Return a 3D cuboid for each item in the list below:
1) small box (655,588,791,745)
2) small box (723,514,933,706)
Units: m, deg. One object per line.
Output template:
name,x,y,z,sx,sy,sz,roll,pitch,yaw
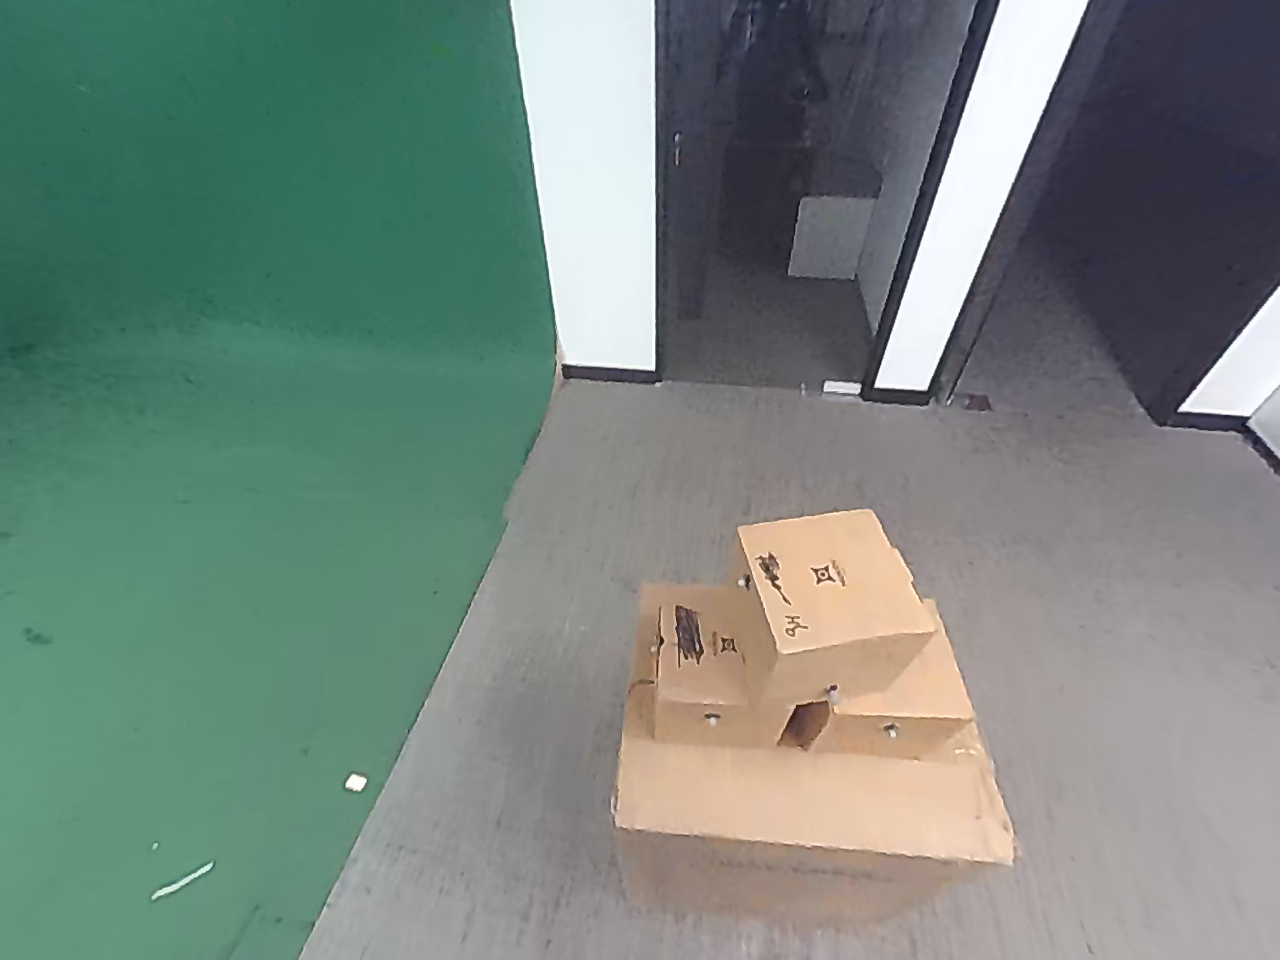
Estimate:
small box,0.113,0.276,0.794,0.179,0.176,0.168,2,48,3
small box,0.215,0.163,0.674,0.179,0.176,0.168,-6,48,-6
